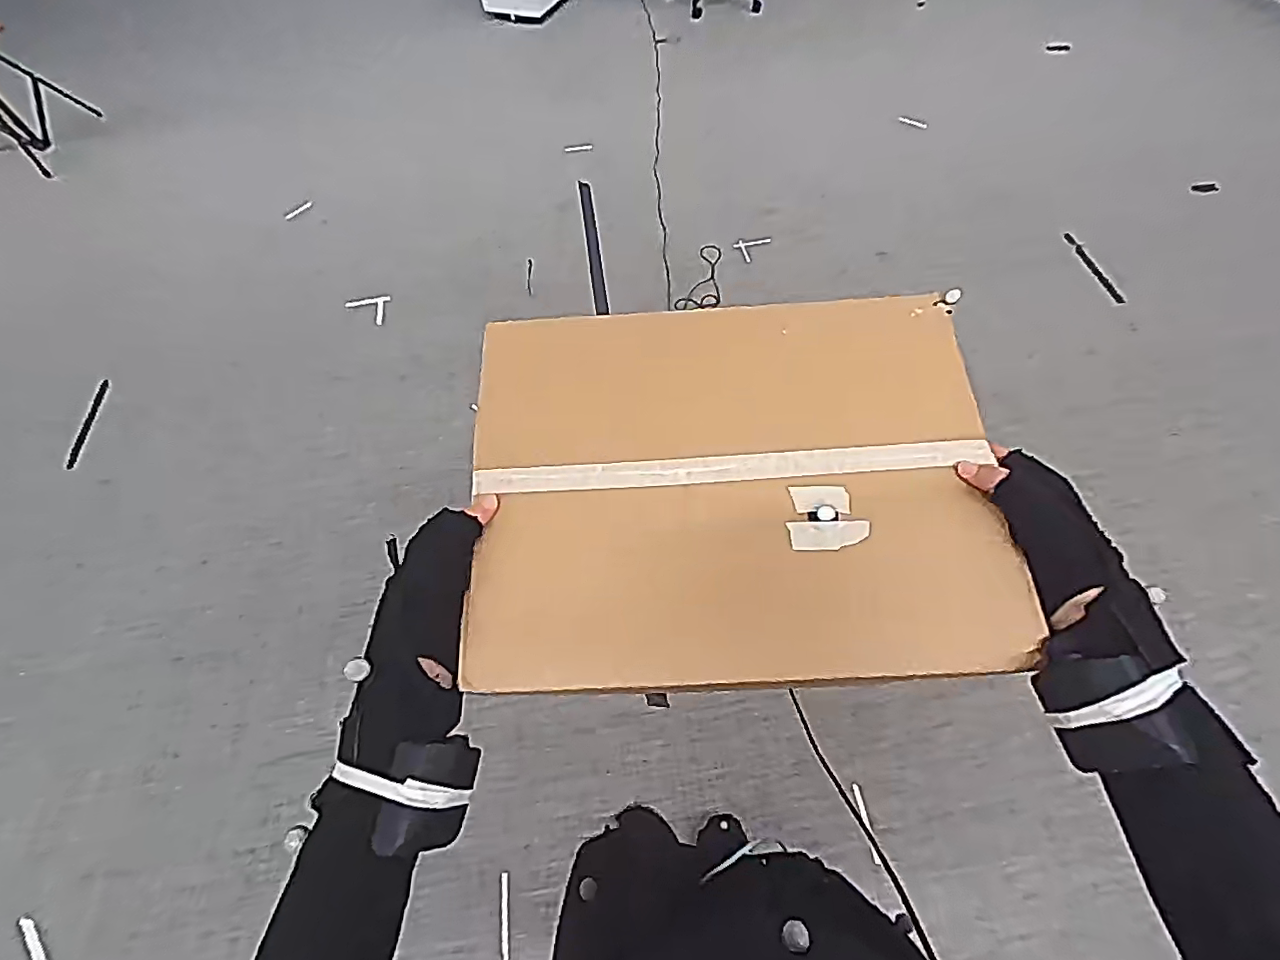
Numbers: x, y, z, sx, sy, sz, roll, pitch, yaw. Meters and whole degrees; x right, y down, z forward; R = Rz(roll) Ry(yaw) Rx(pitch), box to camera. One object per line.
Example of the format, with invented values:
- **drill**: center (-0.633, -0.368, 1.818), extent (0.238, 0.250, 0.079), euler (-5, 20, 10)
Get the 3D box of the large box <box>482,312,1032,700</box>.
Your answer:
- **large box**: center (0.079, 0.056, 0.578), extent (0.408, 0.320, 0.320), euler (-3, 69, 2)
